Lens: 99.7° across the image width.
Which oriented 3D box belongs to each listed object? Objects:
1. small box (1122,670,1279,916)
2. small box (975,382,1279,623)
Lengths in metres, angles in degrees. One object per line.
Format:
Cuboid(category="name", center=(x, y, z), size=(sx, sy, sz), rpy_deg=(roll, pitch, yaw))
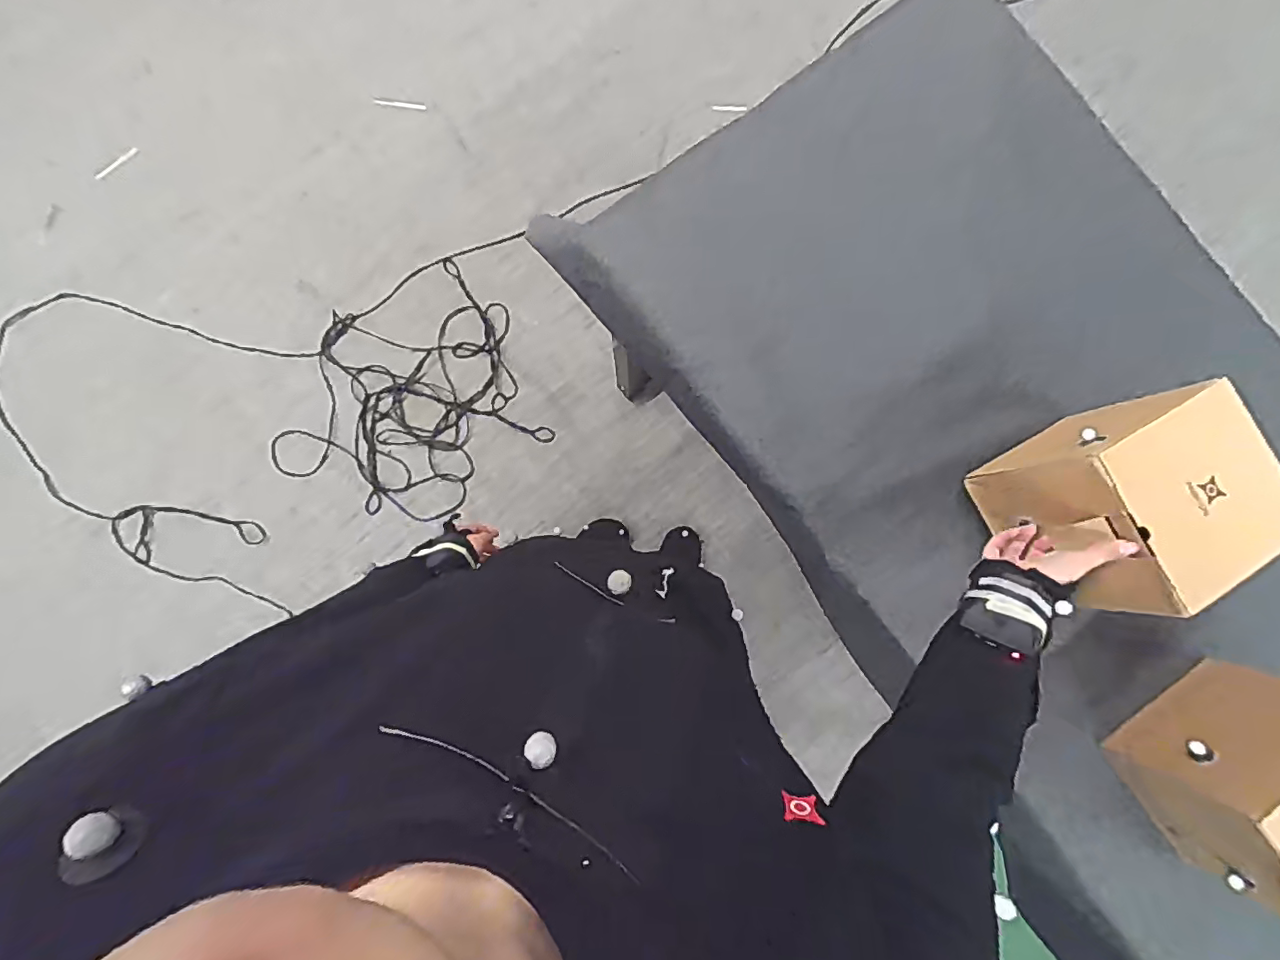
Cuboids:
Cuboid(category="small box", center=(0.661, 0.329, 0.555), size=(0.179, 0.176, 0.168), rpy_deg=(-36, 88, -5))
Cuboid(category="small box", center=(0.506, 0.025, 0.564), size=(0.179, 0.176, 0.168), rpy_deg=(-28, 87, -11))
